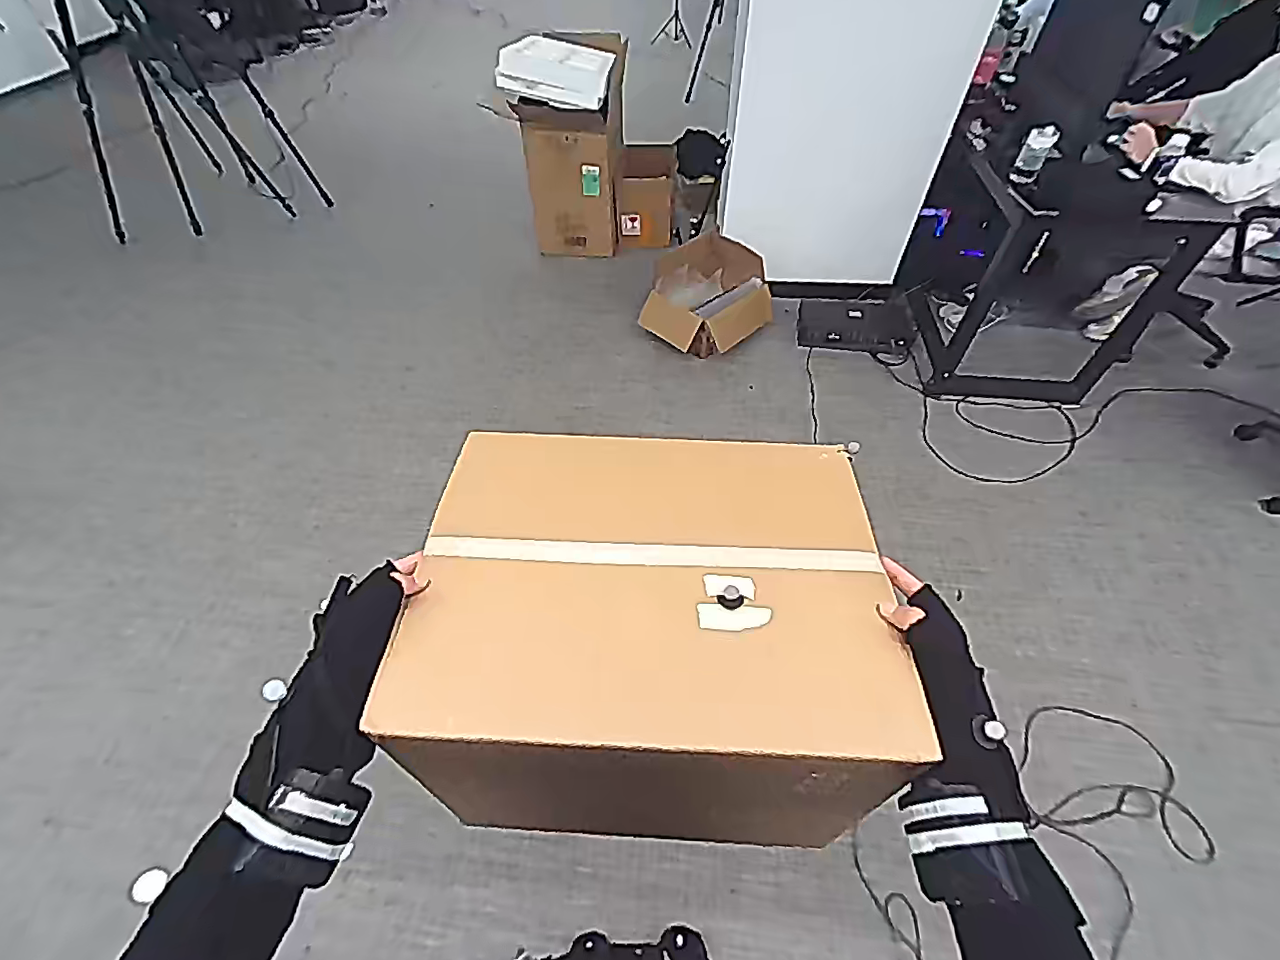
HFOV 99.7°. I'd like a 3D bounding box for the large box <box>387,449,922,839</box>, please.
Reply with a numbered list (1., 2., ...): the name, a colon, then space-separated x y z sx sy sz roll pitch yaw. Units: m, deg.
1. large box: 0.011 0.183 0.603 0.408 0.320 0.320 2 47 2
